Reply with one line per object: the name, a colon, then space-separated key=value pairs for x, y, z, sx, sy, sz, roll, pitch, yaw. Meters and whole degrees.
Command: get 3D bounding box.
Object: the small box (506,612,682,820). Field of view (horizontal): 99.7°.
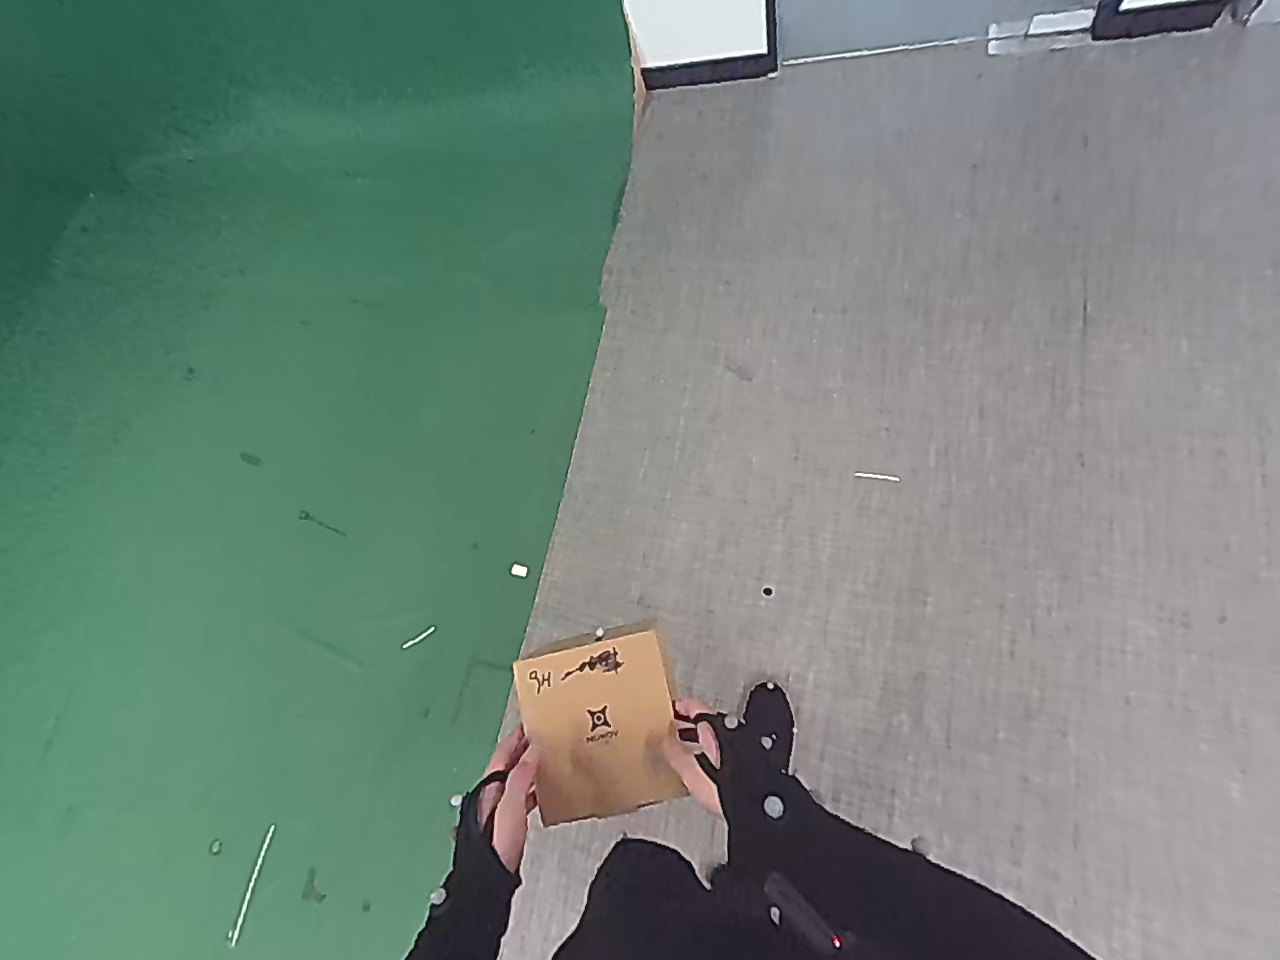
small box: x=-0.044 y=0.269 z=0.658 sx=0.168 sy=0.176 sz=0.179 roll=-14 pitch=80 yaw=2
